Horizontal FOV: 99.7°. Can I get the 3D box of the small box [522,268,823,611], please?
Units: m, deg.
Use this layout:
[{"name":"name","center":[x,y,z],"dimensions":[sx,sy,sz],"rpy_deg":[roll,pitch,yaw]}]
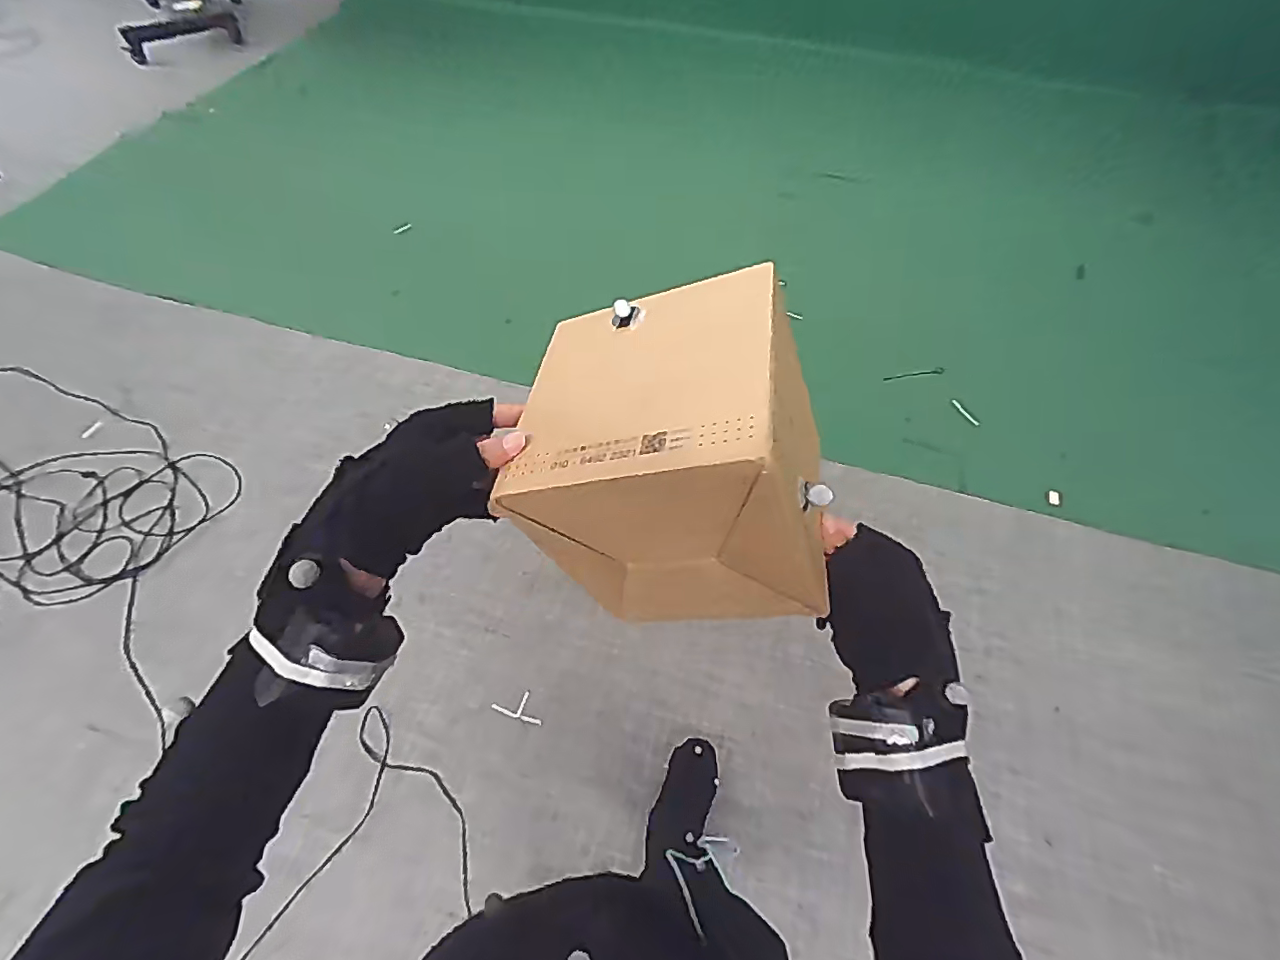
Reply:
[{"name":"small box","center":[0.037,-0.015,0.399],"dimensions":[0.168,0.179,0.176],"rpy_deg":[-8,48,23]}]
